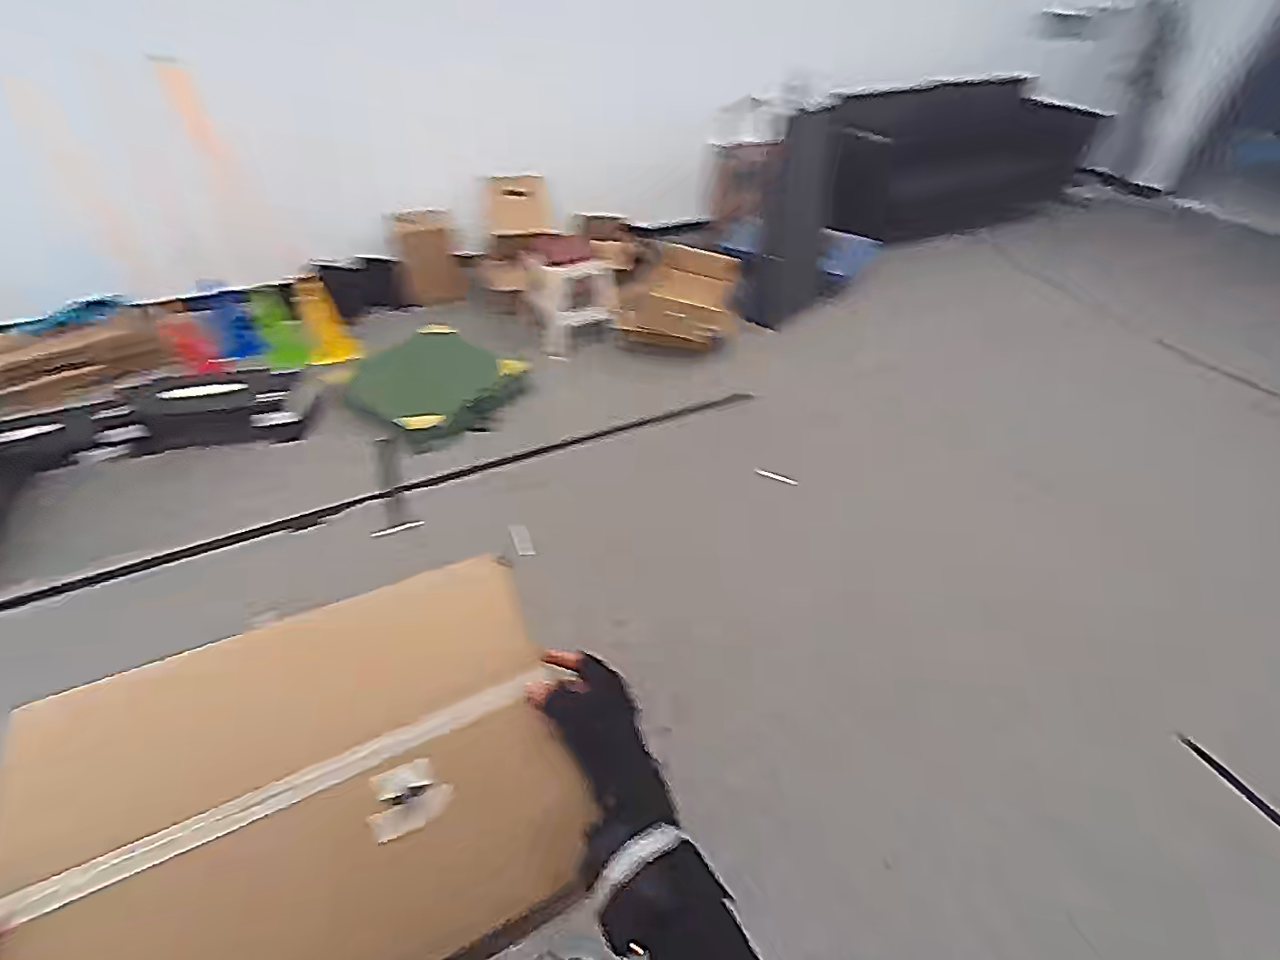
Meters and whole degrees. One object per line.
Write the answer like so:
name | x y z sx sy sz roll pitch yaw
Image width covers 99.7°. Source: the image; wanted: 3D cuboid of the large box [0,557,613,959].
large box | -0.282 0.344 0.558 0.408 0.320 0.320 -17 54 -23
